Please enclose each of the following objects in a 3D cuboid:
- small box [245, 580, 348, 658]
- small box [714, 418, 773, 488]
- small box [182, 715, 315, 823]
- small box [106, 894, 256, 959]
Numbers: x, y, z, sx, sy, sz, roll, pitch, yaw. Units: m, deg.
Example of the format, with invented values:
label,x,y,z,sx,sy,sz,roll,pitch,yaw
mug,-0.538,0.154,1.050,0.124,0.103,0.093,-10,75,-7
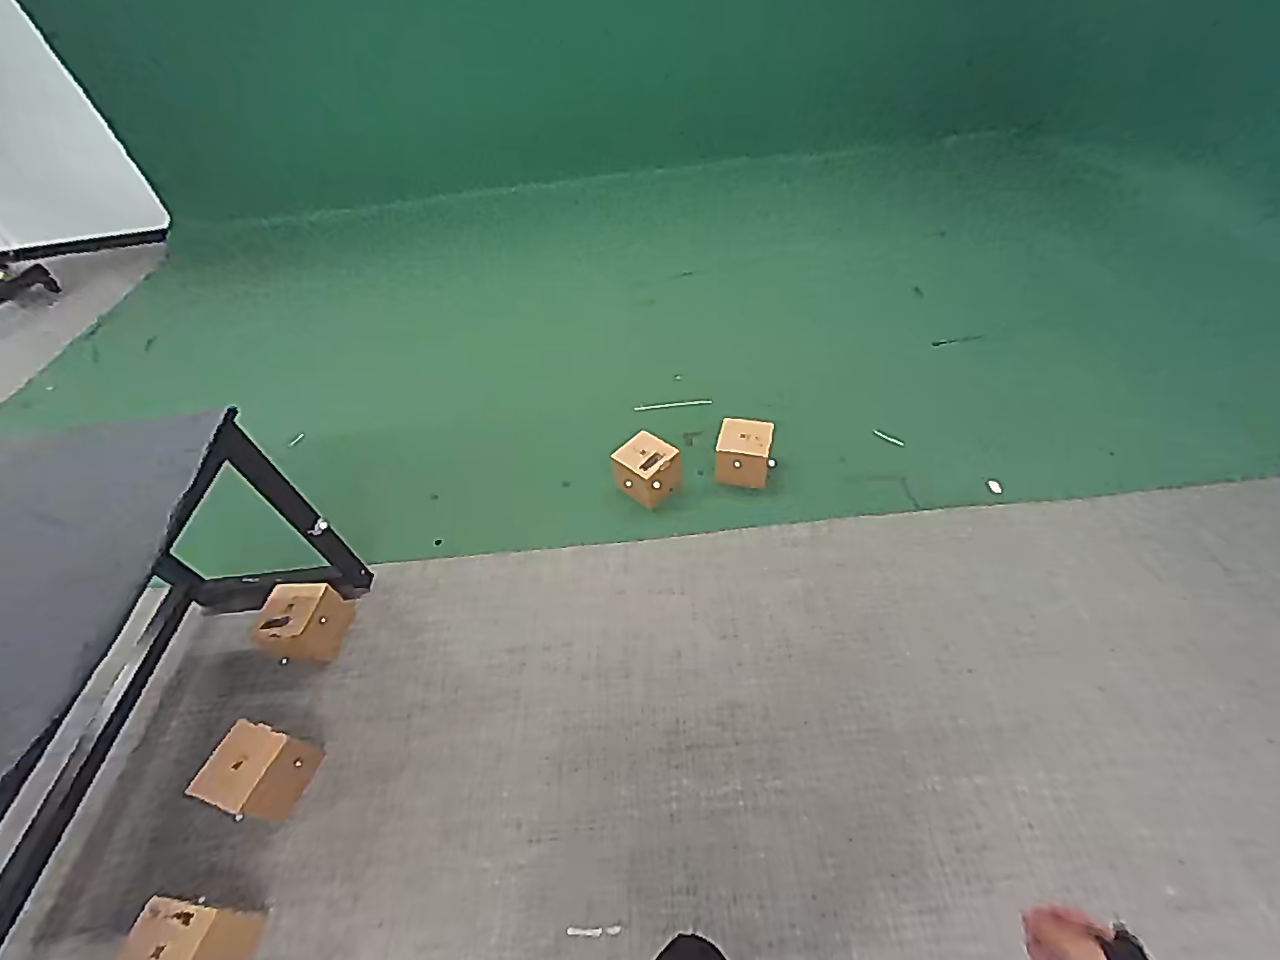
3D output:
label,x,y,z,sx,sy,sz,roll,pitch,yaw
small box,-1.006,0.416,1.606,0.168,0.176,0.179,-1,48,5
small box,0.360,-0.091,1.885,0.179,0.176,0.168,10,51,14
small box,-0.949,0.716,1.337,0.168,0.176,0.179,10,52,16
small box,-0.947,0.977,1.108,0.168,0.176,0.179,4,50,10
